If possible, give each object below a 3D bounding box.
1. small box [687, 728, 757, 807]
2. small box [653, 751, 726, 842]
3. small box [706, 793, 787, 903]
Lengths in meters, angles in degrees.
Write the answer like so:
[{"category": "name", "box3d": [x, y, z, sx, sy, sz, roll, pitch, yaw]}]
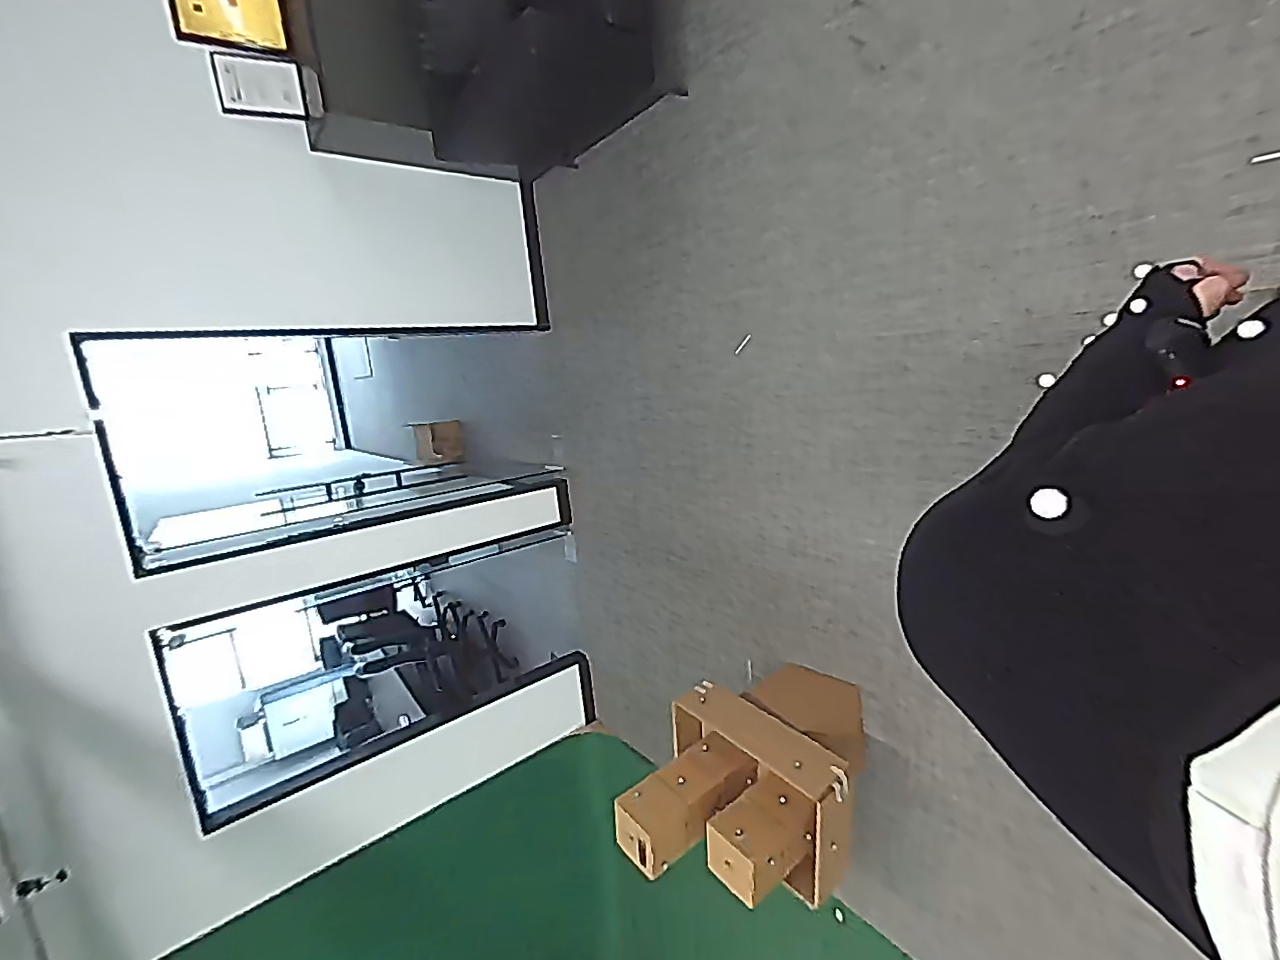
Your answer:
[{"category": "small box", "box3d": [0.286, 1.002, 1.890, 0.179, 0.176, 0.168, 13, 111, 49]}, {"category": "small box", "box3d": [0.164, 1.033, 1.789, 0.179, 0.176, 0.168, 11, 109, 48]}, {"category": "small box", "box3d": [0.317, 1.074, 1.597, 0.179, 0.176, 0.168, 14, 111, 50]}]
